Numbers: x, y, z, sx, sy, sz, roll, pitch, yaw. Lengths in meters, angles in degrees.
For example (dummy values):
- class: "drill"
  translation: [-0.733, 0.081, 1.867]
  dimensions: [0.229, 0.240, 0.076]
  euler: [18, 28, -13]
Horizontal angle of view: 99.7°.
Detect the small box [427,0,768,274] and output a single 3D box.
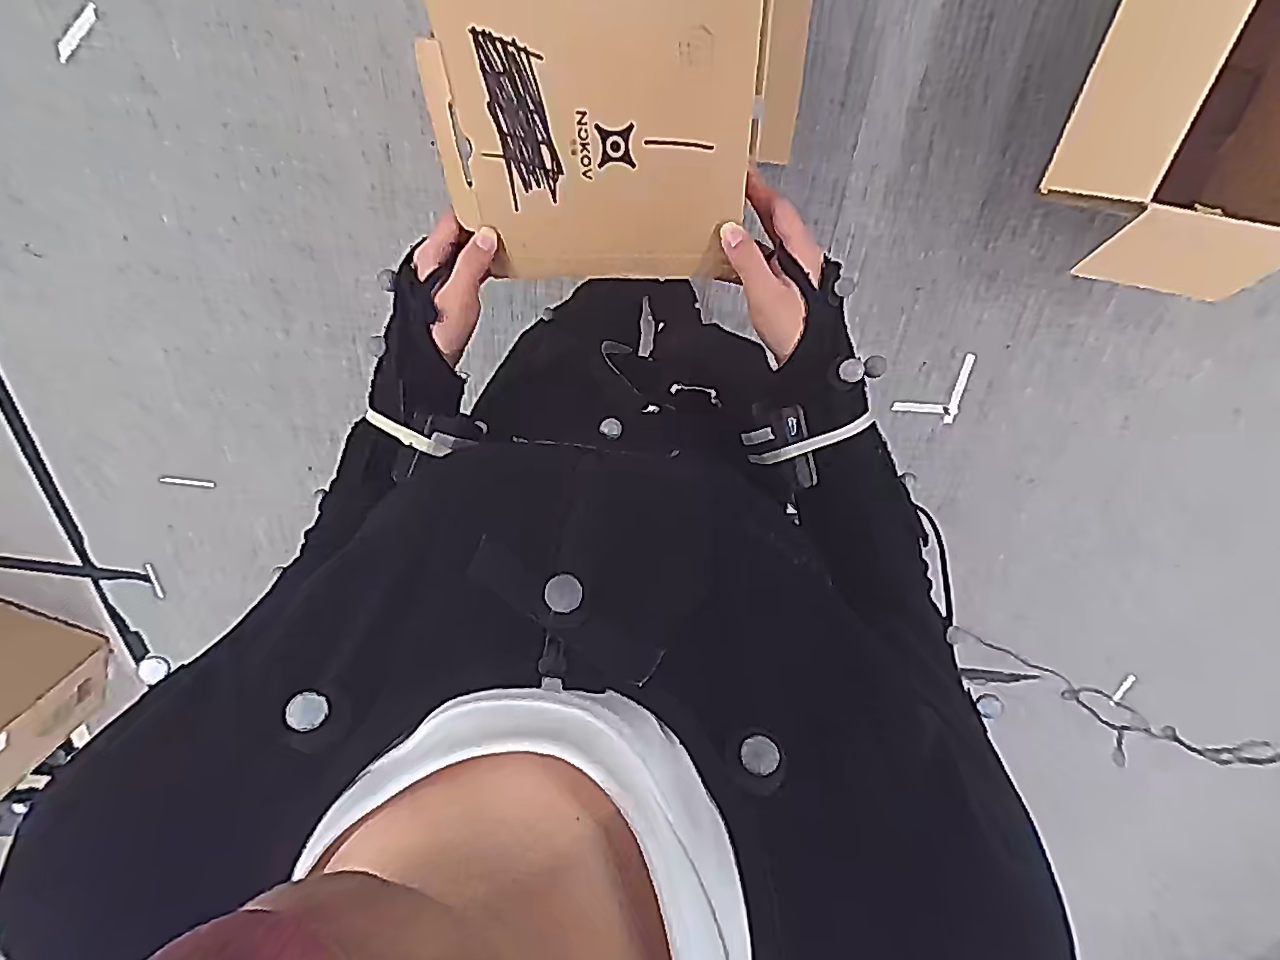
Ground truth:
- class: "small box"
  translation: [-0.015, -0.258, 0.367]
  dimensions: [0.179, 0.176, 0.168]
  euler: [2, 136, 4]
